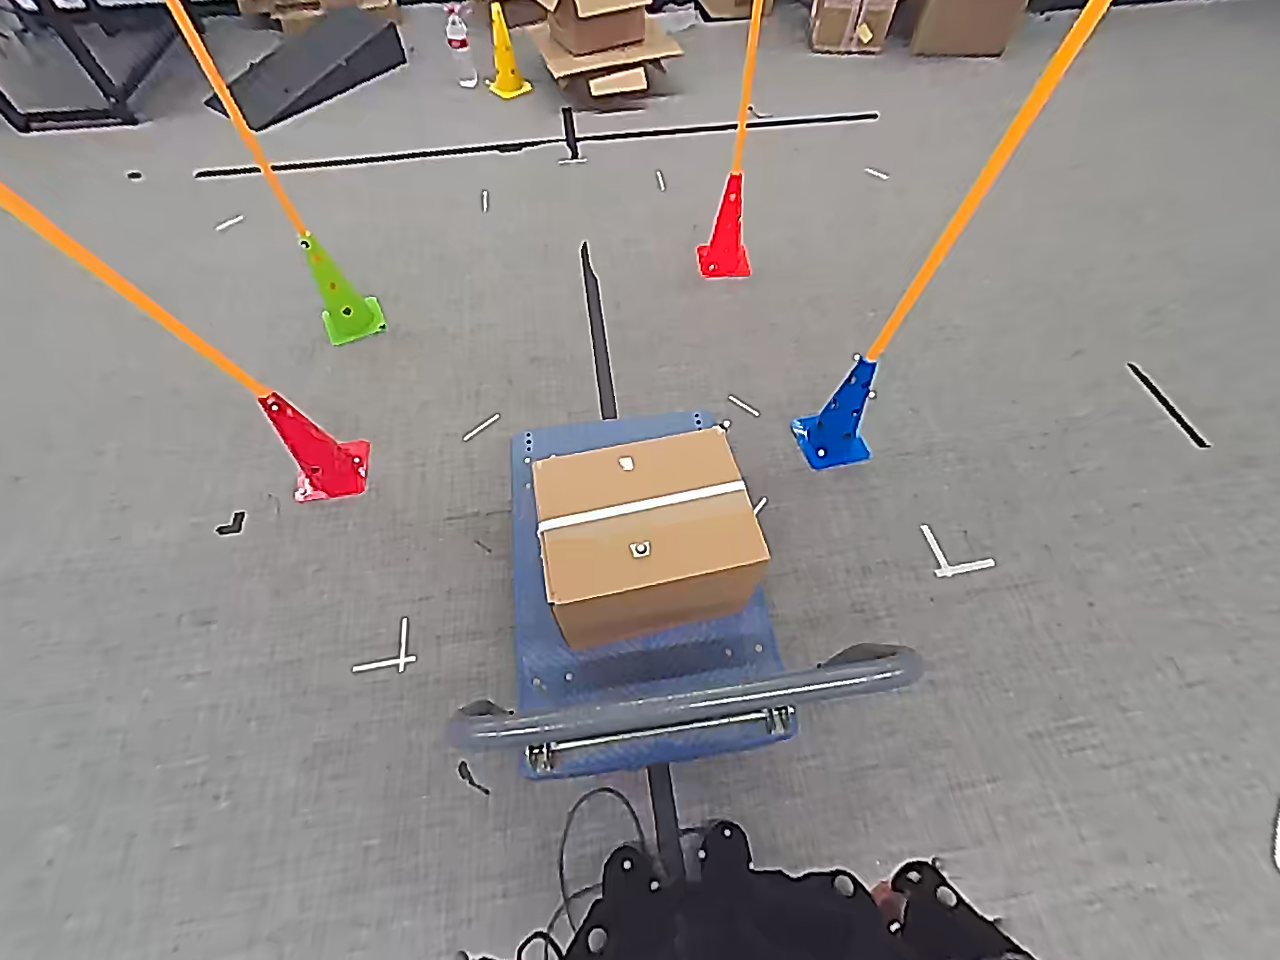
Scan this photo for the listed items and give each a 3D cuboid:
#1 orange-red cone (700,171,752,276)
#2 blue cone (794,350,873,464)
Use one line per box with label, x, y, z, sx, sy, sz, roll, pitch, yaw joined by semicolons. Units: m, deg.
orange-red cone;0.346;-0.975;2.031;0.199;0.360;0.198;-1;59;-2
blue cone;0.607;-0.225;1.585;0.193;0.380;0.192;-11;58;-7
